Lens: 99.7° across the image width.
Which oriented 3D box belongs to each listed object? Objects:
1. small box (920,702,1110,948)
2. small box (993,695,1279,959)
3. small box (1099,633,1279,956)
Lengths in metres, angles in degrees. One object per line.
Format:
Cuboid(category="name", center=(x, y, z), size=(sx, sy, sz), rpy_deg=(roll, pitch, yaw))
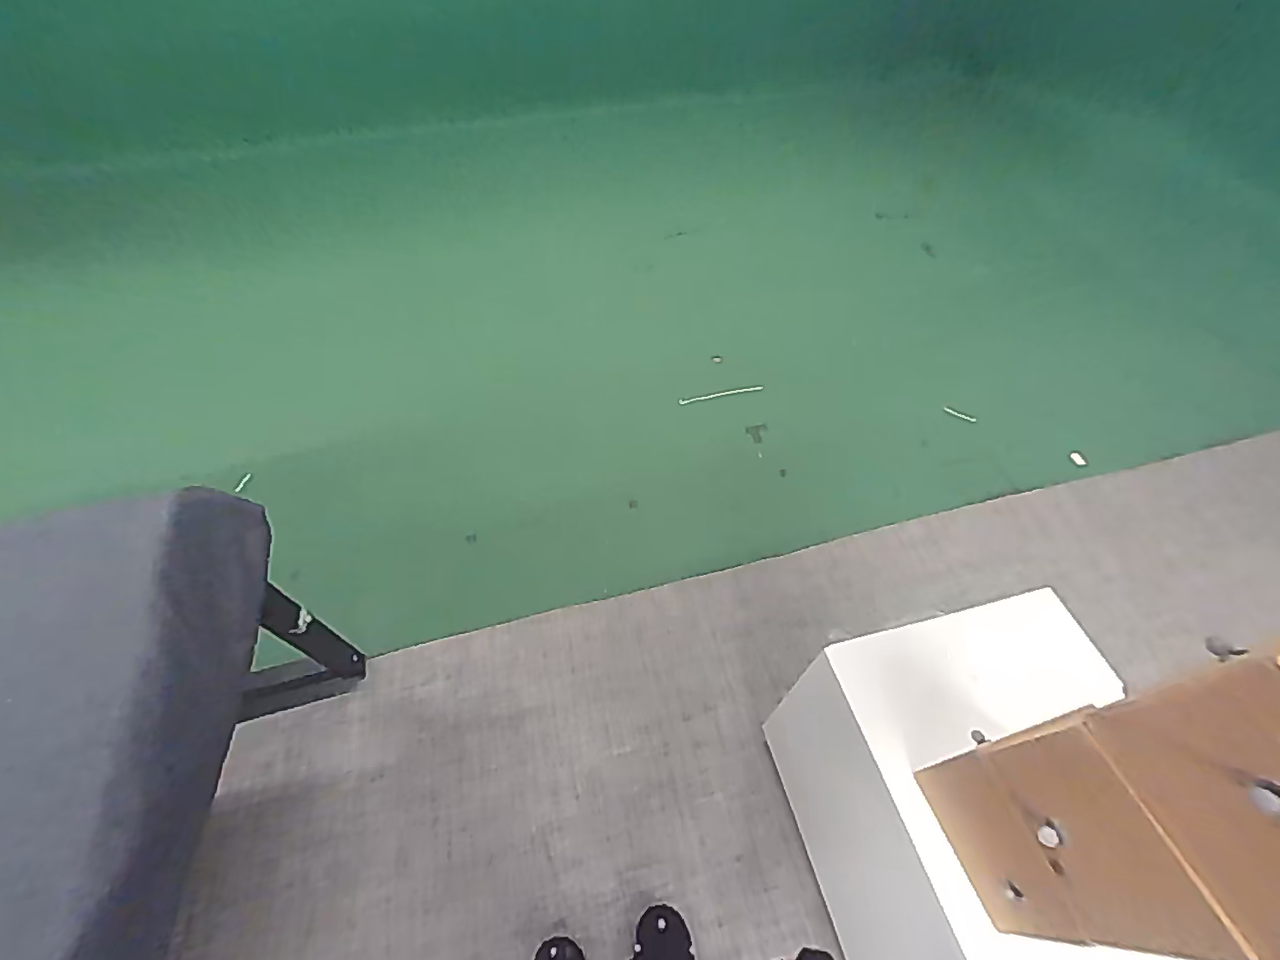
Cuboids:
Cuboid(category="small box", center=(0.462, 0.381, 0.609), size=(0.168, 0.176, 0.179), rpy_deg=(-15, 54, -10))
Cuboid(category="small box", center=(0.469, 0.286, 0.475), size=(0.179, 0.176, 0.168), rpy_deg=(-16, 56, -12))
Cuboid(category="small box", center=(0.464, 0.189, 0.343), size=(0.168, 0.176, 0.179), rpy_deg=(-16, 55, -10))
